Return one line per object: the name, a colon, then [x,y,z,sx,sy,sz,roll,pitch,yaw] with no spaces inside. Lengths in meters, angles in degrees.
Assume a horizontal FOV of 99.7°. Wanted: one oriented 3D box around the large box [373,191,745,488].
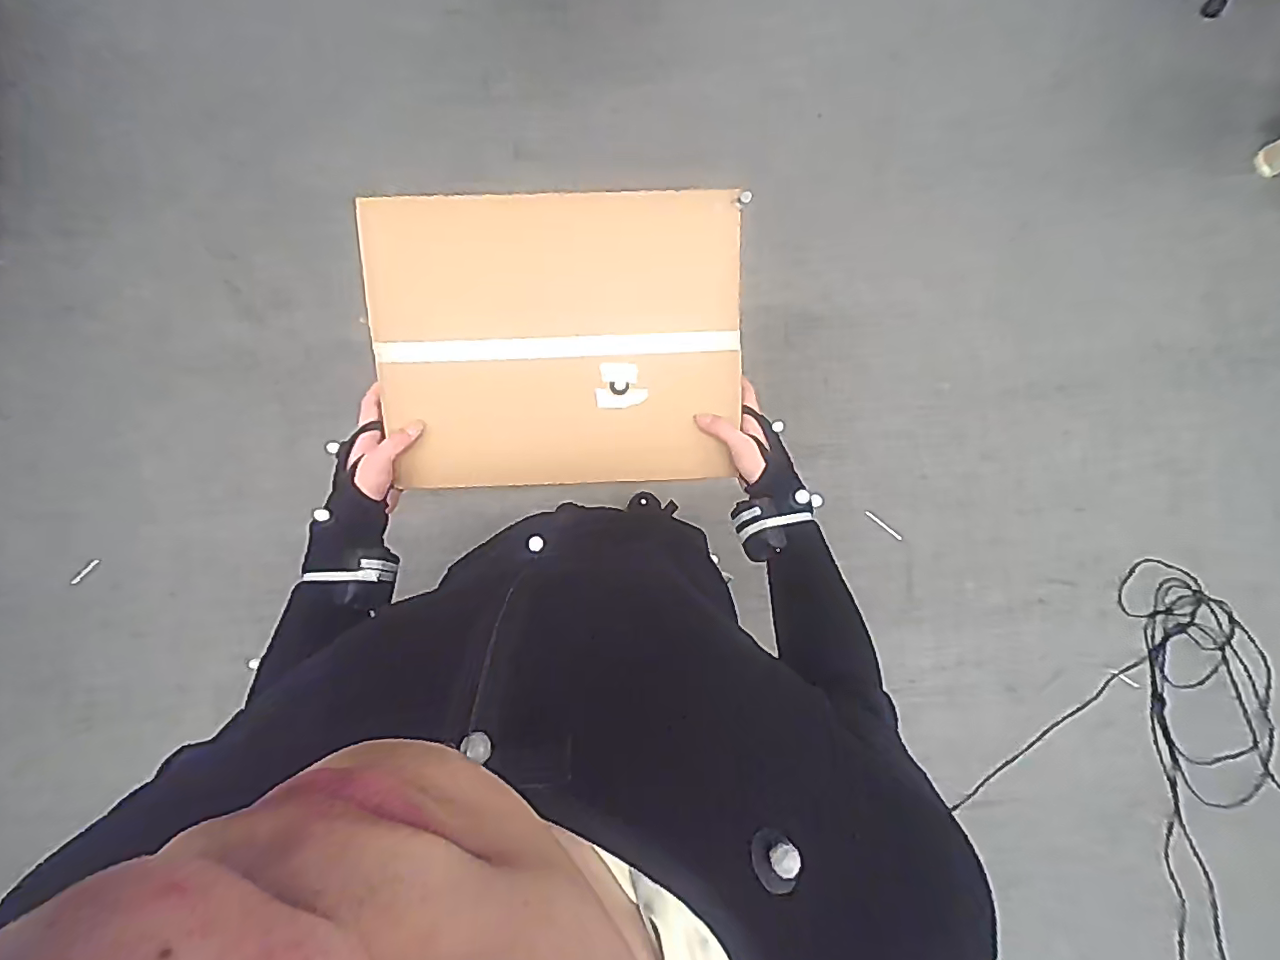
large box: [-0.088,-0.181,0.755,0.408,0.320,0.320,-3,102,-2]
